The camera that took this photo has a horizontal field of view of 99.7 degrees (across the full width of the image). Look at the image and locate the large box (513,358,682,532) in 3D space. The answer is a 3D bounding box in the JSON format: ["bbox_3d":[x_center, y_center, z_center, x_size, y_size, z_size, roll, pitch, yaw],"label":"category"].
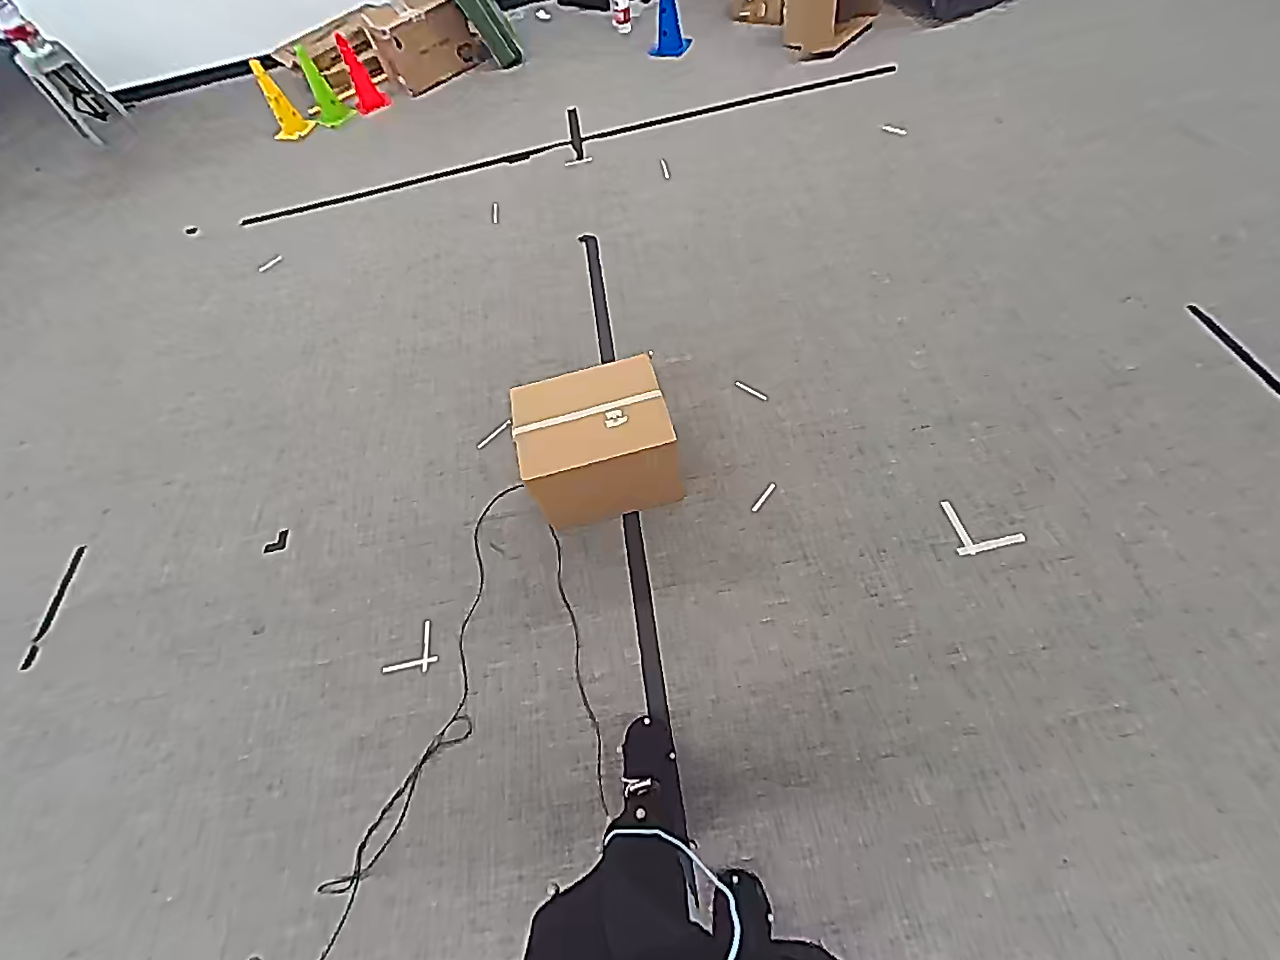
[{"bbox_3d":[-0.113,-0.092,1.552,0.408,0.320,0.320,-14,59,-1],"label":"large box"}]
